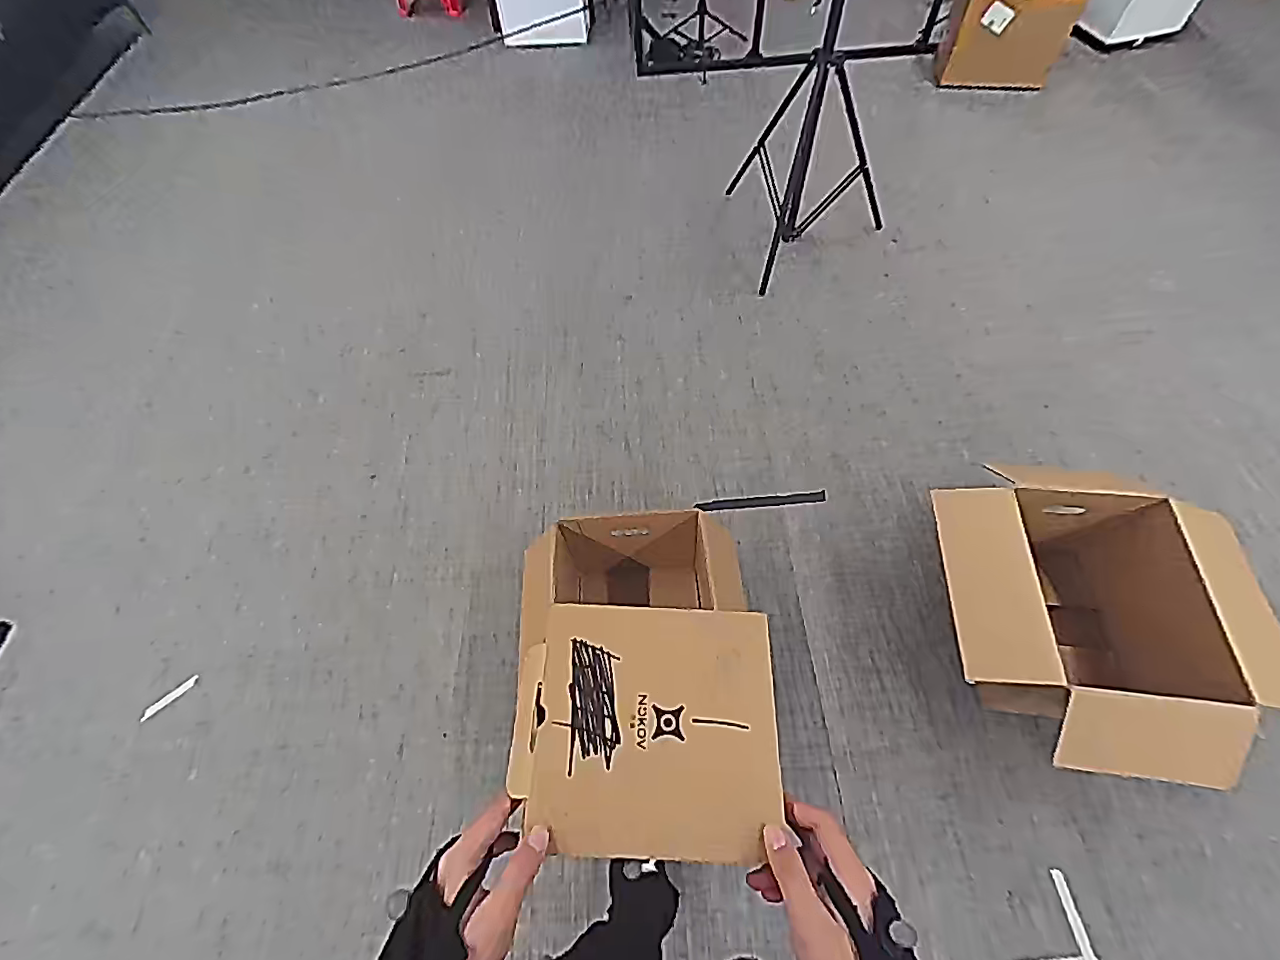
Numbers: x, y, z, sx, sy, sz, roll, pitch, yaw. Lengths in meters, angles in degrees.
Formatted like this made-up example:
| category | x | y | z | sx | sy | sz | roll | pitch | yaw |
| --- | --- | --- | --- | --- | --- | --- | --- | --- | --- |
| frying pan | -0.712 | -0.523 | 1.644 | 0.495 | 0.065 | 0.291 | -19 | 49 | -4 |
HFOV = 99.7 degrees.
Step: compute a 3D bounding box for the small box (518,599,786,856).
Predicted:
| category | x | y | z | sx | sy | sz | roll | pitch | yaw |
| --- | --- | --- | --- | --- | --- | --- | --- | --- | --- |
| small box | 0.008 | 0.208 | 0.454 | 0.179 | 0.176 | 0.168 | 3 | 59 | -1 |
